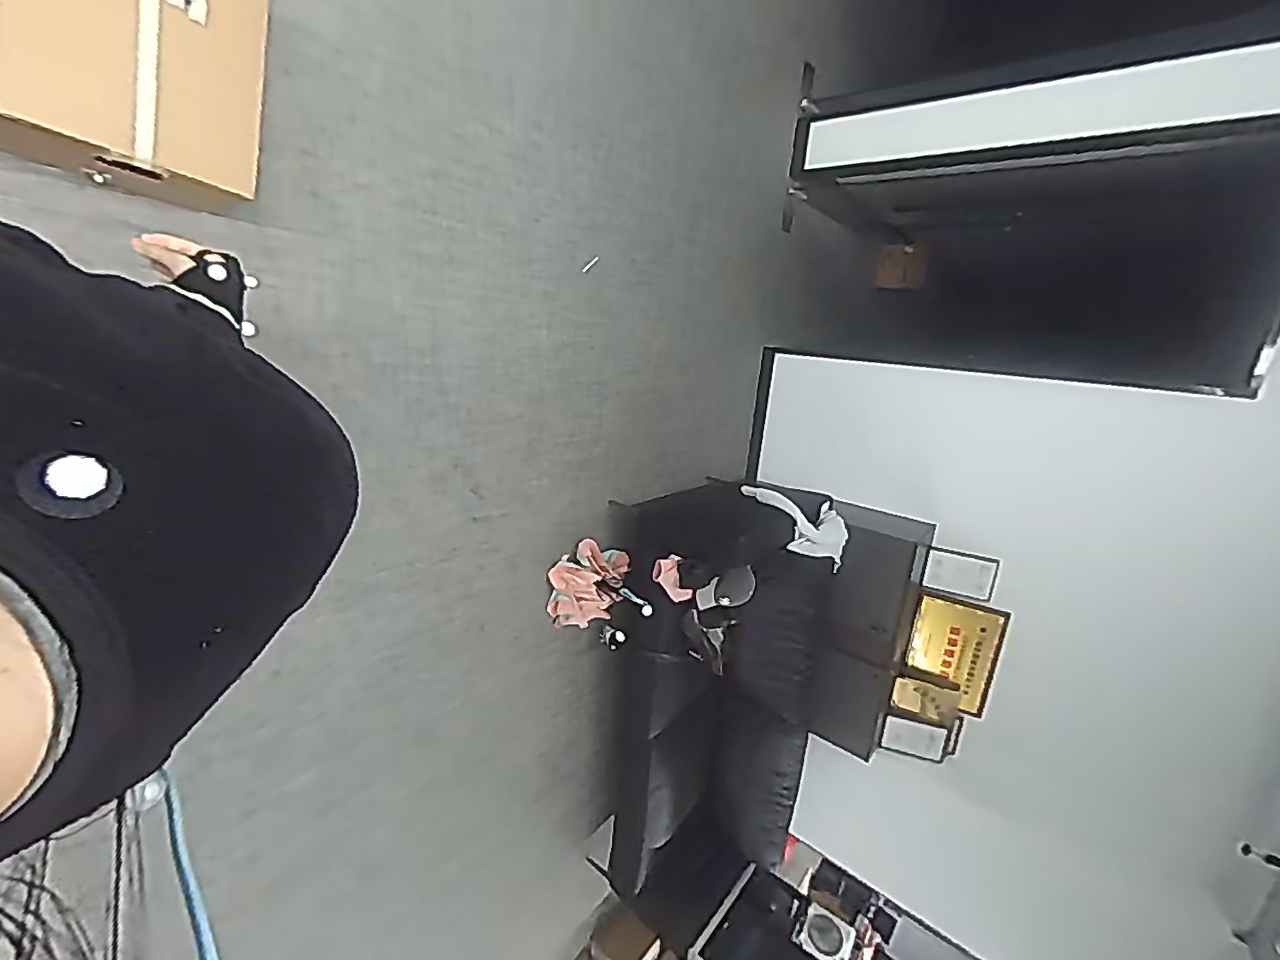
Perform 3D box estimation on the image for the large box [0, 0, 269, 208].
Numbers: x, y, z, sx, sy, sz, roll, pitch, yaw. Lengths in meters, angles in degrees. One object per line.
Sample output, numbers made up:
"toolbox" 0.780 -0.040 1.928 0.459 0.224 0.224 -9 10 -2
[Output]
"large box" -0.873 -0.741 0.930 0.320 0.320 0.408 -1 103 -52
